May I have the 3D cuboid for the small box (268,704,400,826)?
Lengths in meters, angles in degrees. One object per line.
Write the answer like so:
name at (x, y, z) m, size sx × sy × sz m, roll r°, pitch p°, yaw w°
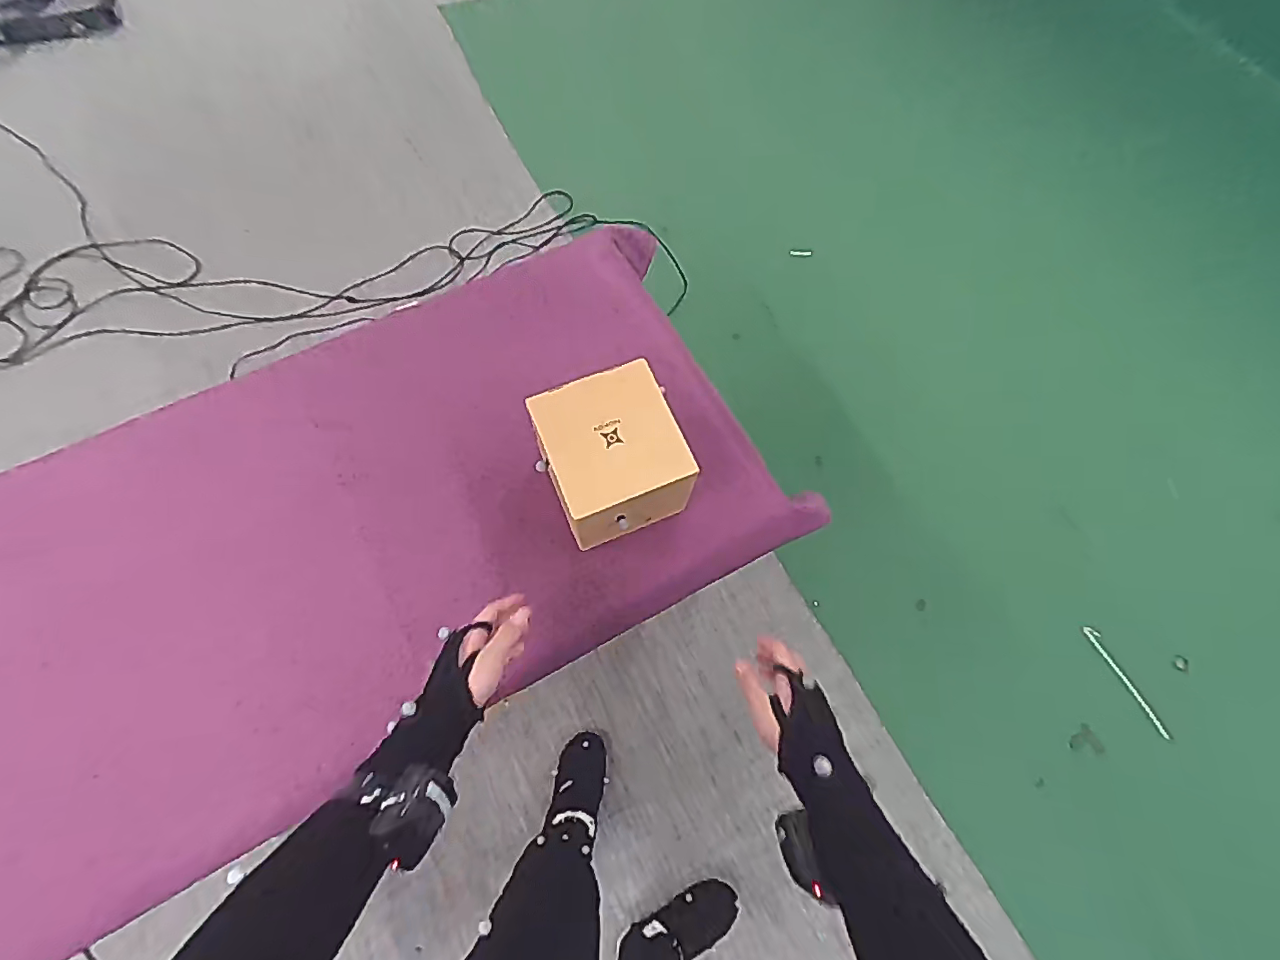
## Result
small box at (-0.678, 0.628, 1.220) m, size 0.168 × 0.176 × 0.179 m, roll -36°, pitch 76°, yaw -15°

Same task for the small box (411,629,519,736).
small box at (-0.407, 0.479, 1.293) m, size 0.179 × 0.176 × 0.168 m, roll -34°, pitch 74°, yaw -14°

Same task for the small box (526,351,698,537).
small box at (-0.037, -0.036, 0.730) m, size 0.168 × 0.176 × 0.179 m, roll -21°, pitch 71°, yaw -10°
